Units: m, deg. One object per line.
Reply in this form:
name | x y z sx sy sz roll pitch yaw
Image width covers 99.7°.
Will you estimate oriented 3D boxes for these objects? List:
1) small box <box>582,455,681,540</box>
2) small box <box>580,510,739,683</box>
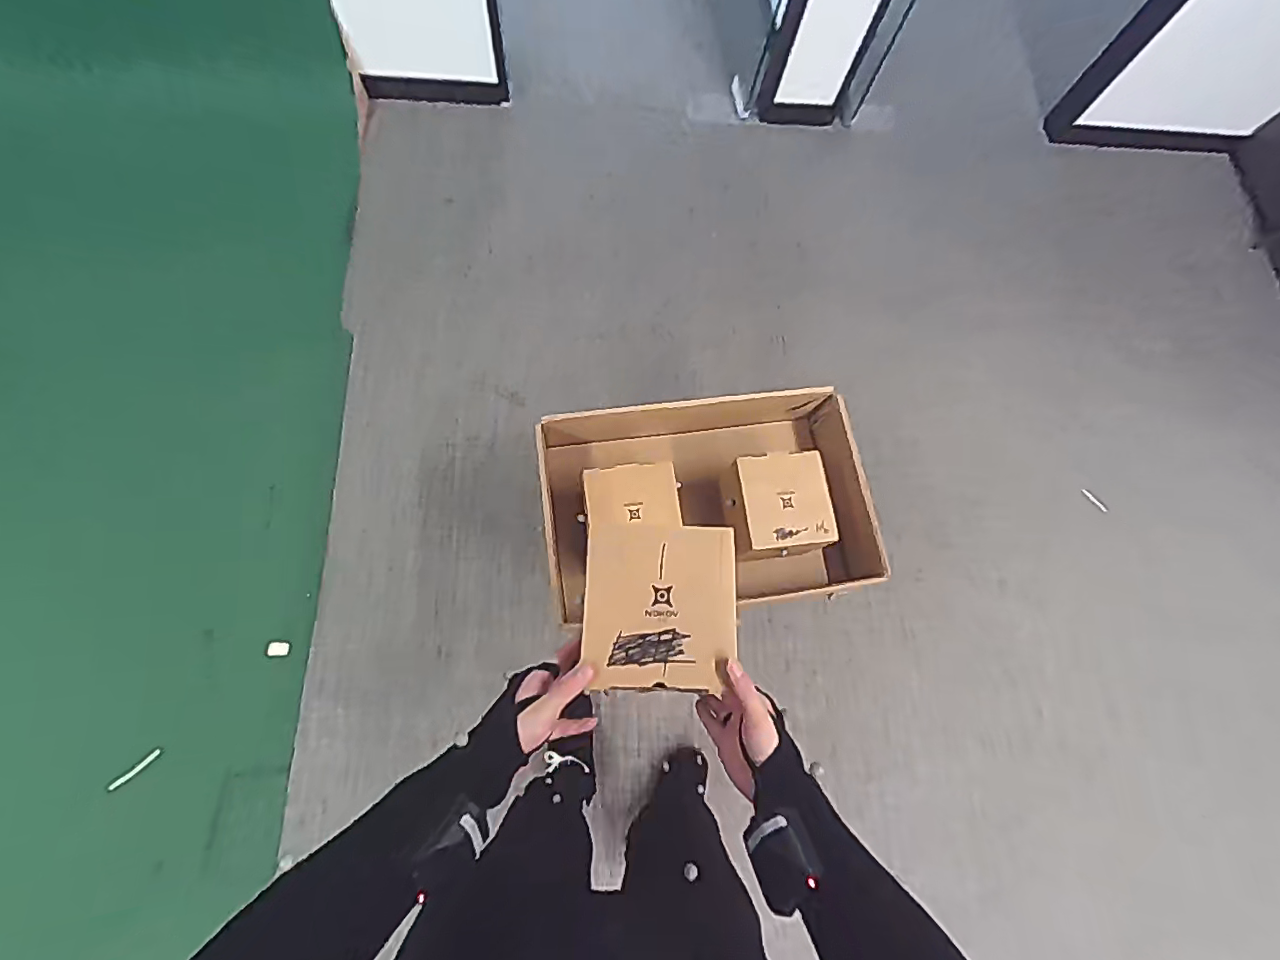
small box | -0.016 0.067 1.015 0.168 0.176 0.179 -6 74 -7
small box | 0.019 0.144 0.649 0.168 0.176 0.179 3 72 -4
